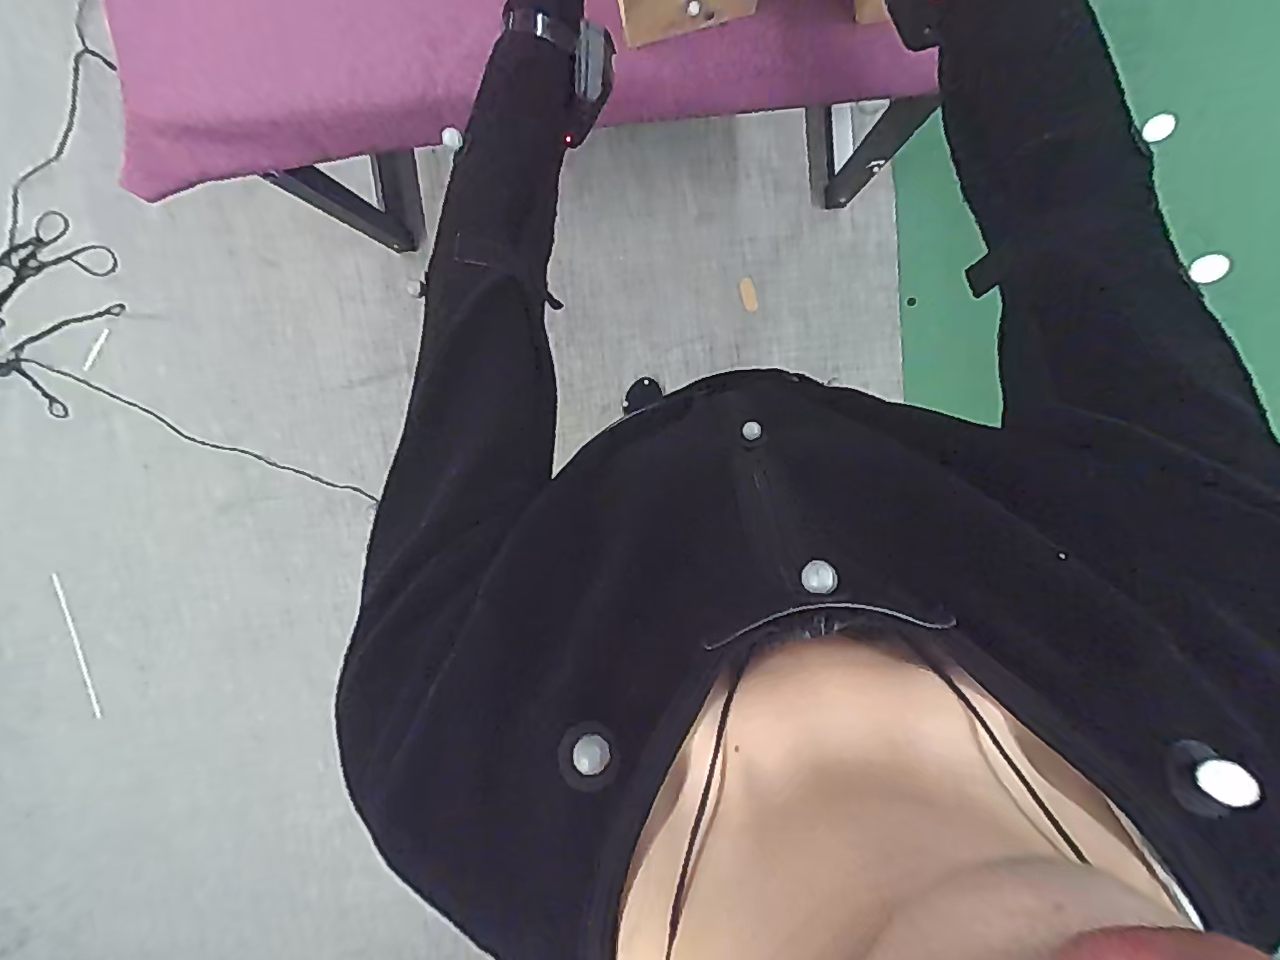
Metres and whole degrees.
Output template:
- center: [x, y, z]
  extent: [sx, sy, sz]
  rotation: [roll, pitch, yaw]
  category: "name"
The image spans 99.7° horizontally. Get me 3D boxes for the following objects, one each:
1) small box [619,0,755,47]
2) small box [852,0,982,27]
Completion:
- center: [0.043, -0.641, 0.598]
  extent: [0.168, 0.176, 0.179]
  rotation: [-12, 96, 5]
  category: "small box"
- center: [0.341, -0.644, 0.583]
  extent: [0.179, 0.176, 0.168]
  rotation: [-9, 97, 4]
  category: "small box"
